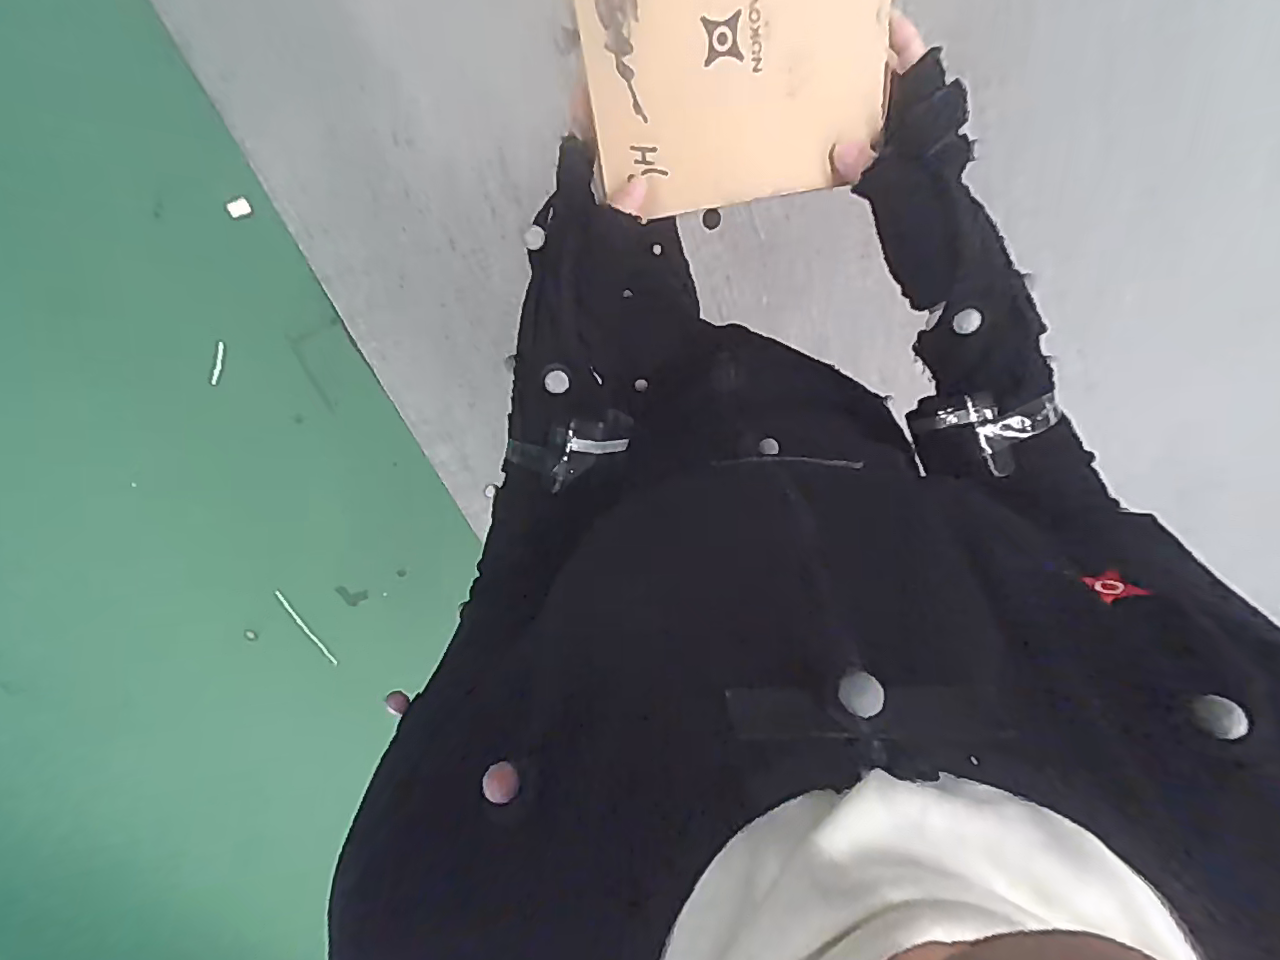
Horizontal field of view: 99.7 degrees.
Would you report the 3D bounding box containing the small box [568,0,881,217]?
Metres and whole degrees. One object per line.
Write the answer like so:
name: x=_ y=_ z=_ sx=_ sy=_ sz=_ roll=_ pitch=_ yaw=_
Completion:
small box: x=0.046 y=-0.288 z=0.379 sx=0.179 sy=0.176 sz=0.168 roll=-10 pitch=116 yaw=0
